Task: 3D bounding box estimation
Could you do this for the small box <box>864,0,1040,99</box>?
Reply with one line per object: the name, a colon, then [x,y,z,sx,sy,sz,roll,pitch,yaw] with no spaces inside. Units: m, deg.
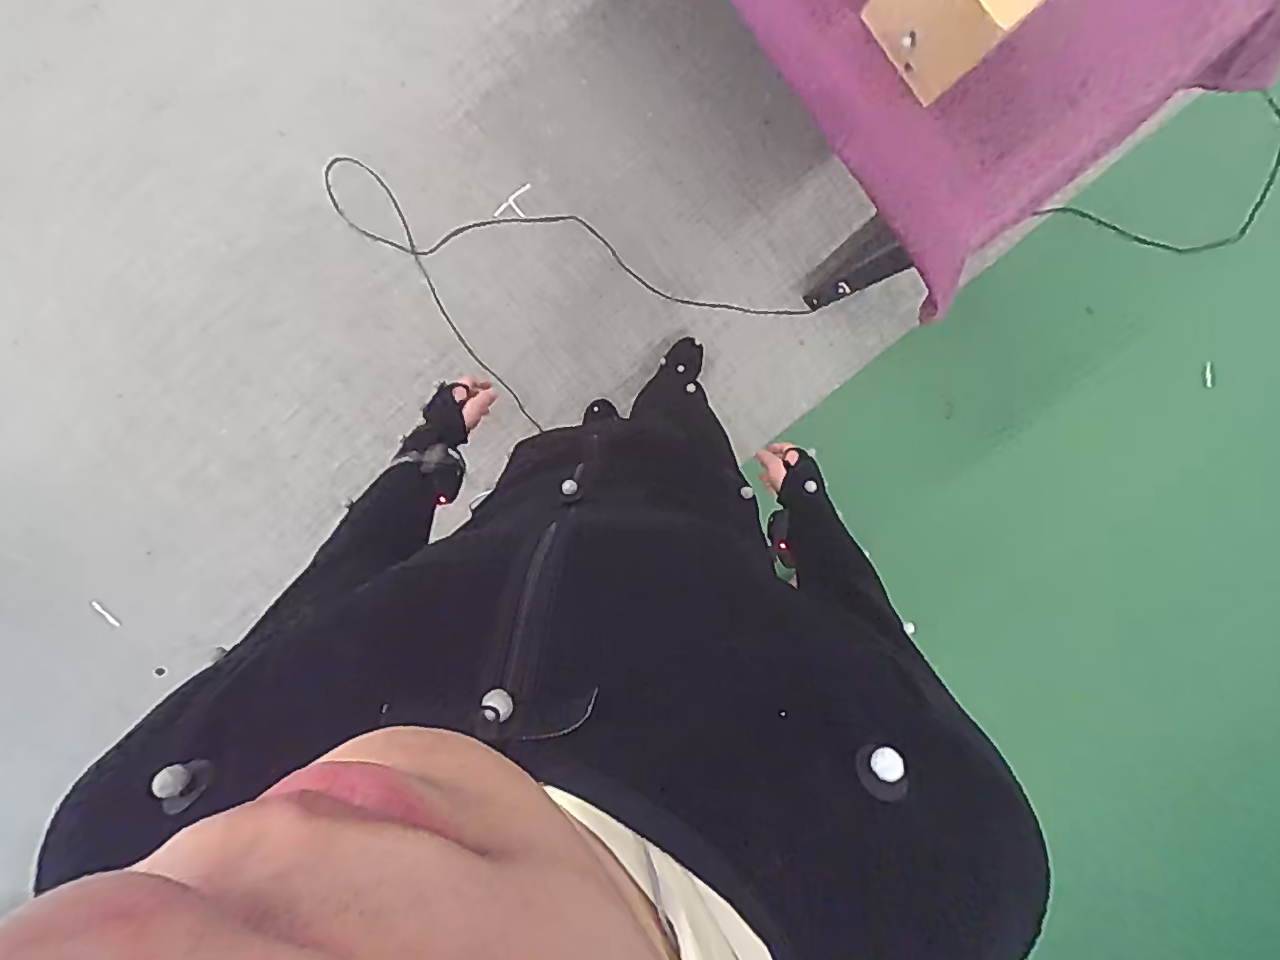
small box: [0.439,-0.667,0.714,0.179,0.176,0.168,-40,98,4]
